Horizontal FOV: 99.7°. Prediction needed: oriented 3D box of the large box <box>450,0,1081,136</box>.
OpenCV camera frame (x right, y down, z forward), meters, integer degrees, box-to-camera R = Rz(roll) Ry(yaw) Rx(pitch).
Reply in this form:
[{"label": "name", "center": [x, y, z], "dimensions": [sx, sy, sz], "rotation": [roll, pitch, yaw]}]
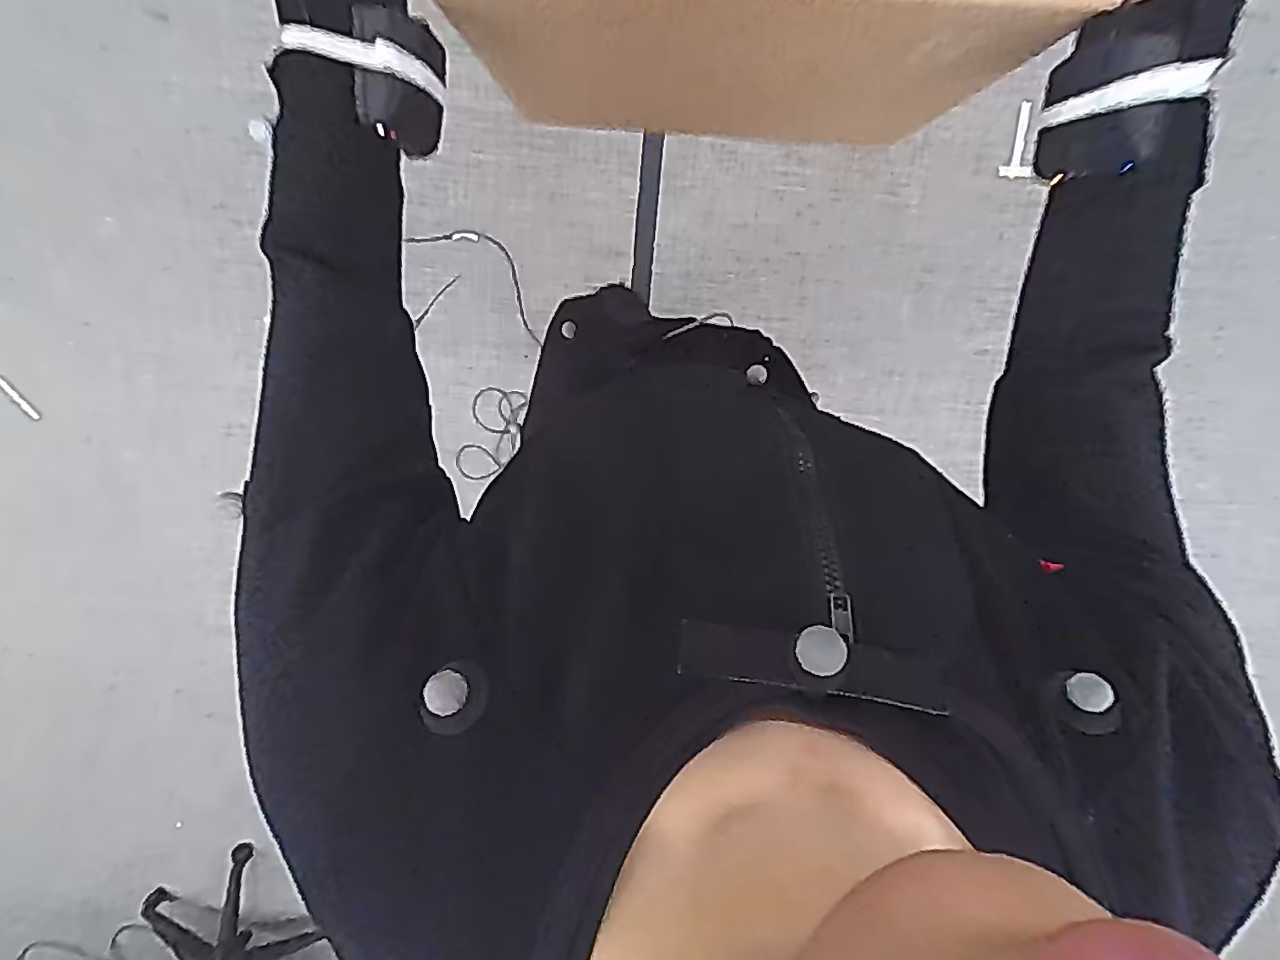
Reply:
[{"label": "large box", "center": [0.076, -0.479, 0.402], "dimensions": [0.408, 0.320, 0.320], "rotation": [4, 110, 0]}]
